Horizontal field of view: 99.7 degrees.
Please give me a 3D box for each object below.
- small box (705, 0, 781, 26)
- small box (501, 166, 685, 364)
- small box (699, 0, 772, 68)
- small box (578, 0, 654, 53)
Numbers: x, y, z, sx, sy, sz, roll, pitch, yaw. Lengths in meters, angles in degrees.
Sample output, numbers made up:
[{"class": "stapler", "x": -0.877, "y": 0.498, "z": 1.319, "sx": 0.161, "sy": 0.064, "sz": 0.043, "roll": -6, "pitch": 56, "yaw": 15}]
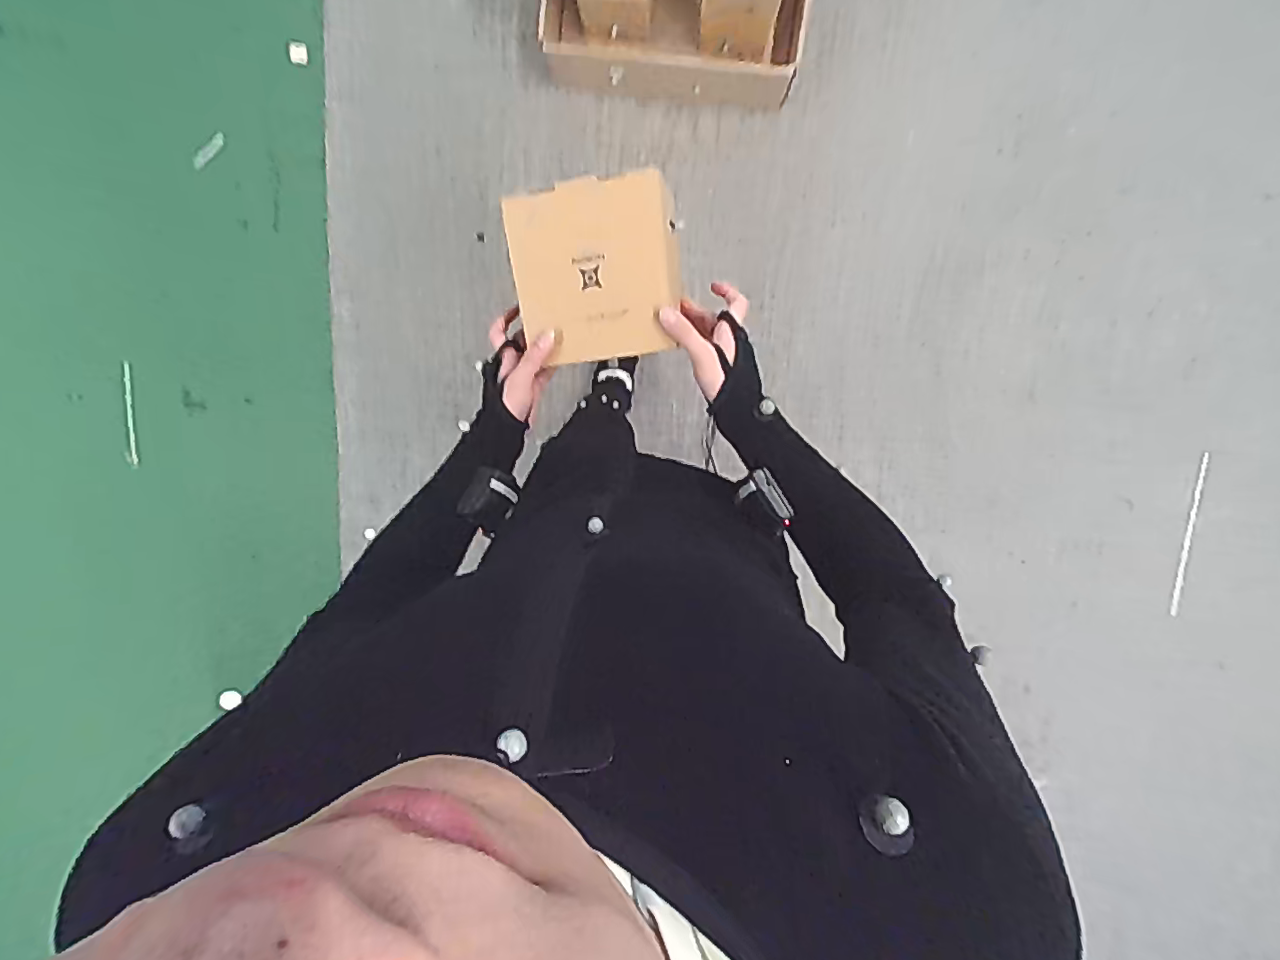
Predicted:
[{"class": "small box", "x": 0.231, "y": -1.105, "z": 1.121, "sx": 0.168, "sy": 0.176, "sz": 0.179, "roll": 10, "pitch": 98, "yaw": 2}, {"class": "small box", "x": -0.041, "y": -0.235, "z": 0.631, "sx": 0.168, "sy": 0.176, "sz": 0.179, "roll": -4, "pitch": 105, "yaw": 11}, {"class": "small box", "x": 0.233, "y": -1.132, "z": 1.283, "sx": 0.168, "sy": 0.176, "sz": 0.179, "roll": 8, "pitch": 99, "yaw": 2}, {"class": "small box", "x": -0.053, "y": -1.178, "z": 1.292, "sx": 0.168, "sy": 0.176, "sz": 0.179, "roll": 8, "pitch": 98, "yaw": 2}]
